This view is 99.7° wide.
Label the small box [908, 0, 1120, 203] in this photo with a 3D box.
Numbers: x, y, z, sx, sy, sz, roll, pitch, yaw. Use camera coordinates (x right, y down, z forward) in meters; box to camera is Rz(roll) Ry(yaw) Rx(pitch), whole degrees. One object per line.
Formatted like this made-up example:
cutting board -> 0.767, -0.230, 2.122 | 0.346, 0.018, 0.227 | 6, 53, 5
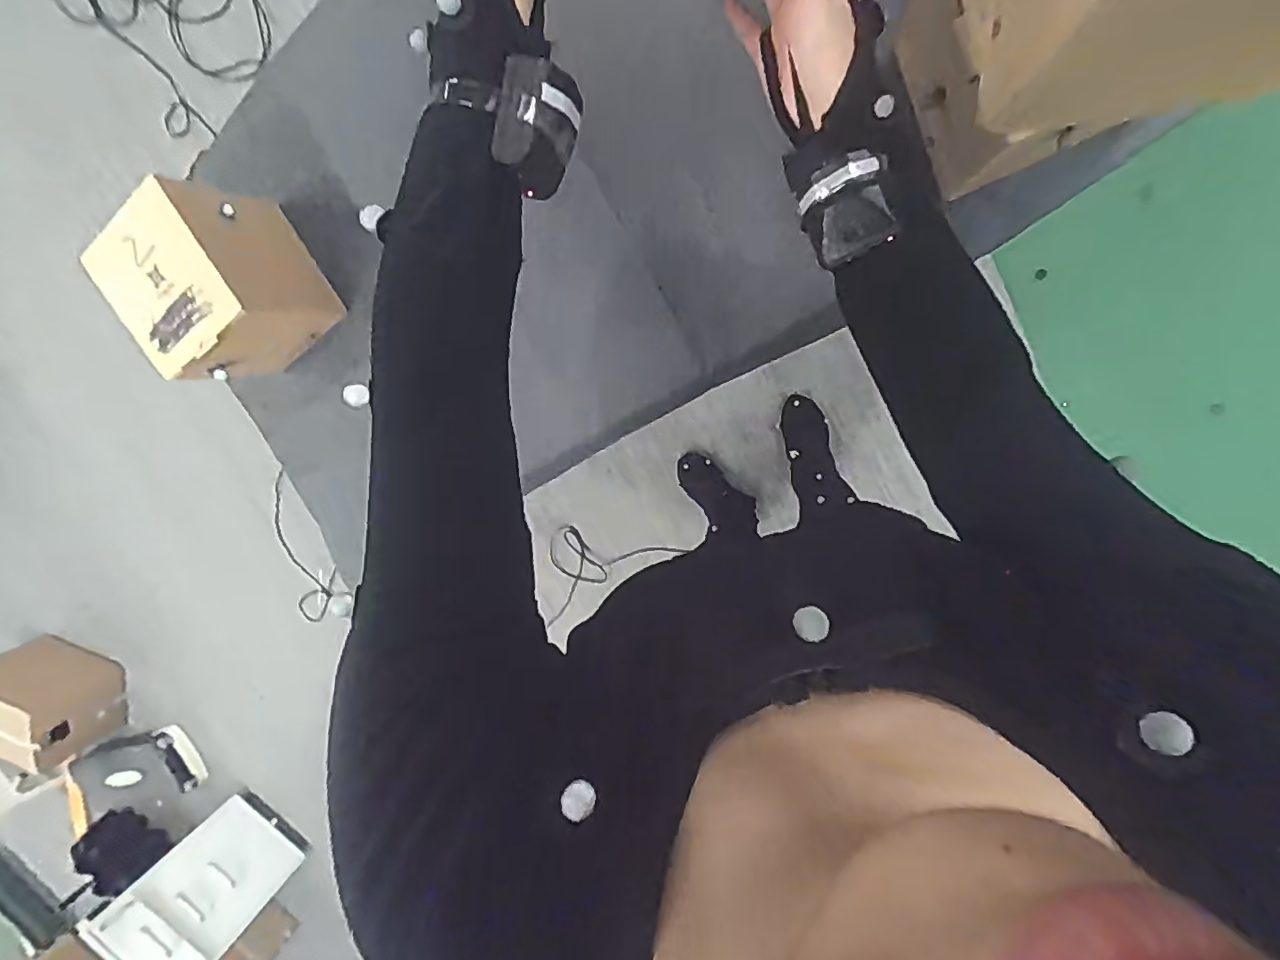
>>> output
small box -> 0.348, -0.370, 0.462 | 0.179, 0.176, 0.168 | -20, 97, 19
